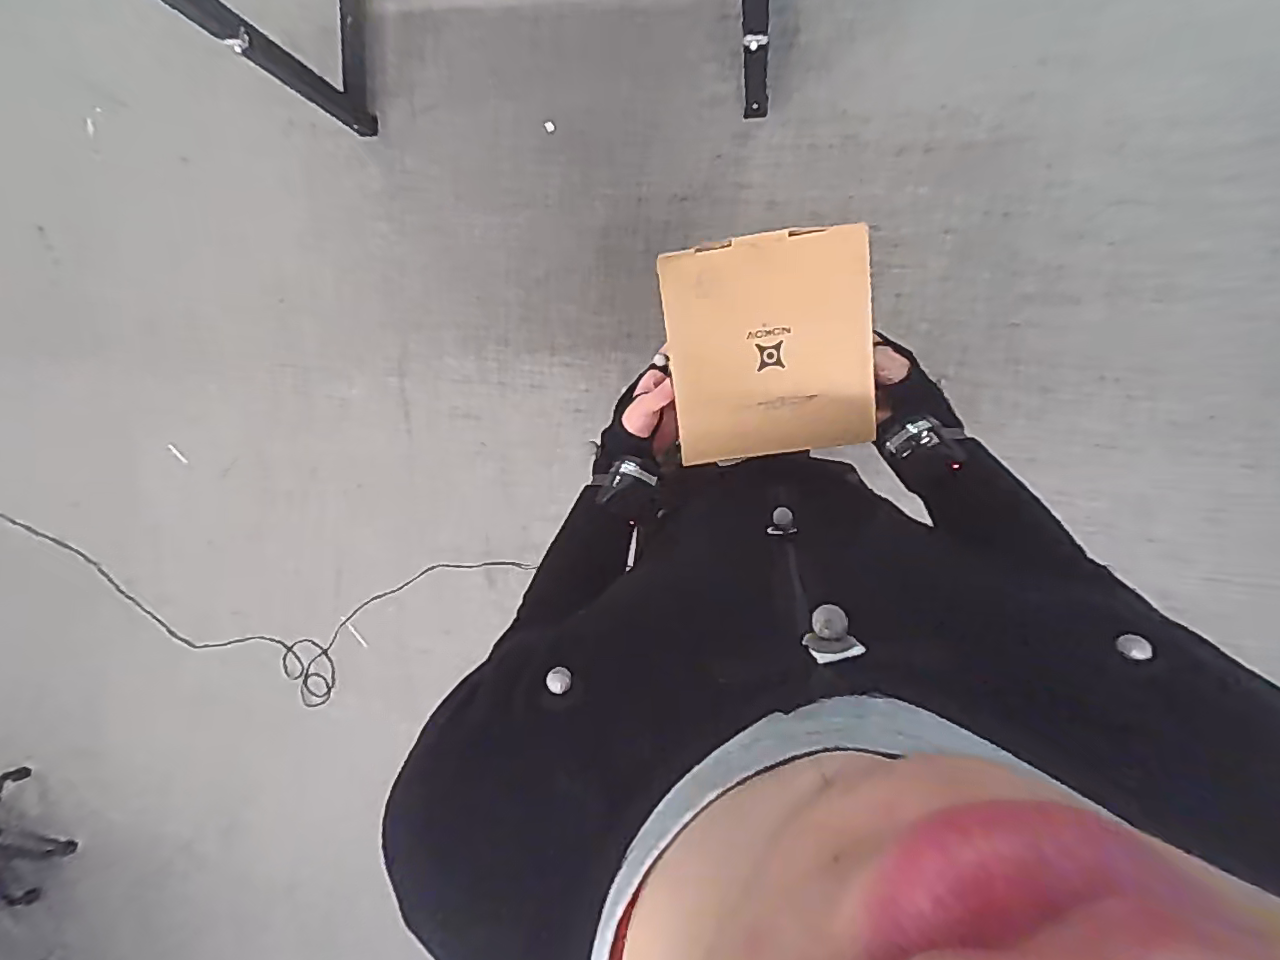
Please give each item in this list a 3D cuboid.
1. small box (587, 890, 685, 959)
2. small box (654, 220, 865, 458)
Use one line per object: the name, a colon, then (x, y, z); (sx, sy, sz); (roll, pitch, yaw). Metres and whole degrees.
small box: (-0.004, 0.950, 1.042); (0.168, 0.176, 0.179); (1, 100, 12)
small box: (0.105, -0.131, 0.521); (0.168, 0.176, 0.179); (-6, 106, 6)
